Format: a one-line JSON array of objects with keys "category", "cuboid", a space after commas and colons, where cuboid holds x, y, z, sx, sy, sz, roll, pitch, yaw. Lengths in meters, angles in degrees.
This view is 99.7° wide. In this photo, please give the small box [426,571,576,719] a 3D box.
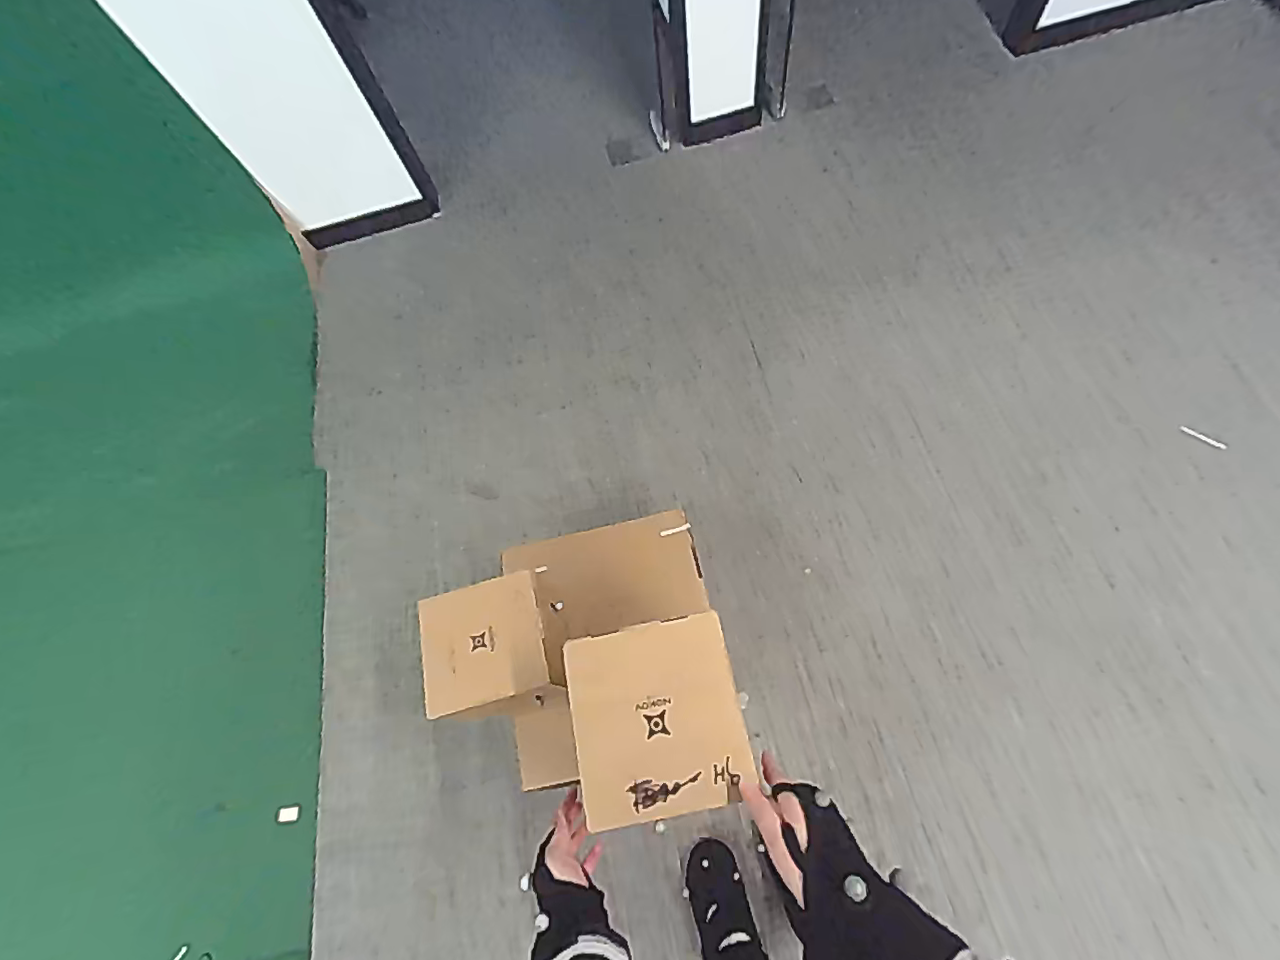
[{"category": "small box", "cuboid": [-0.198, 0.254, 0.820, 0.179, 0.176, 0.168, -17, 64, 3]}]

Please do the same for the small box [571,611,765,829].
[{"category": "small box", "cuboid": [0.029, 0.259, 0.600, 0.168, 0.176, 0.179, -12, 67, 3]}]
